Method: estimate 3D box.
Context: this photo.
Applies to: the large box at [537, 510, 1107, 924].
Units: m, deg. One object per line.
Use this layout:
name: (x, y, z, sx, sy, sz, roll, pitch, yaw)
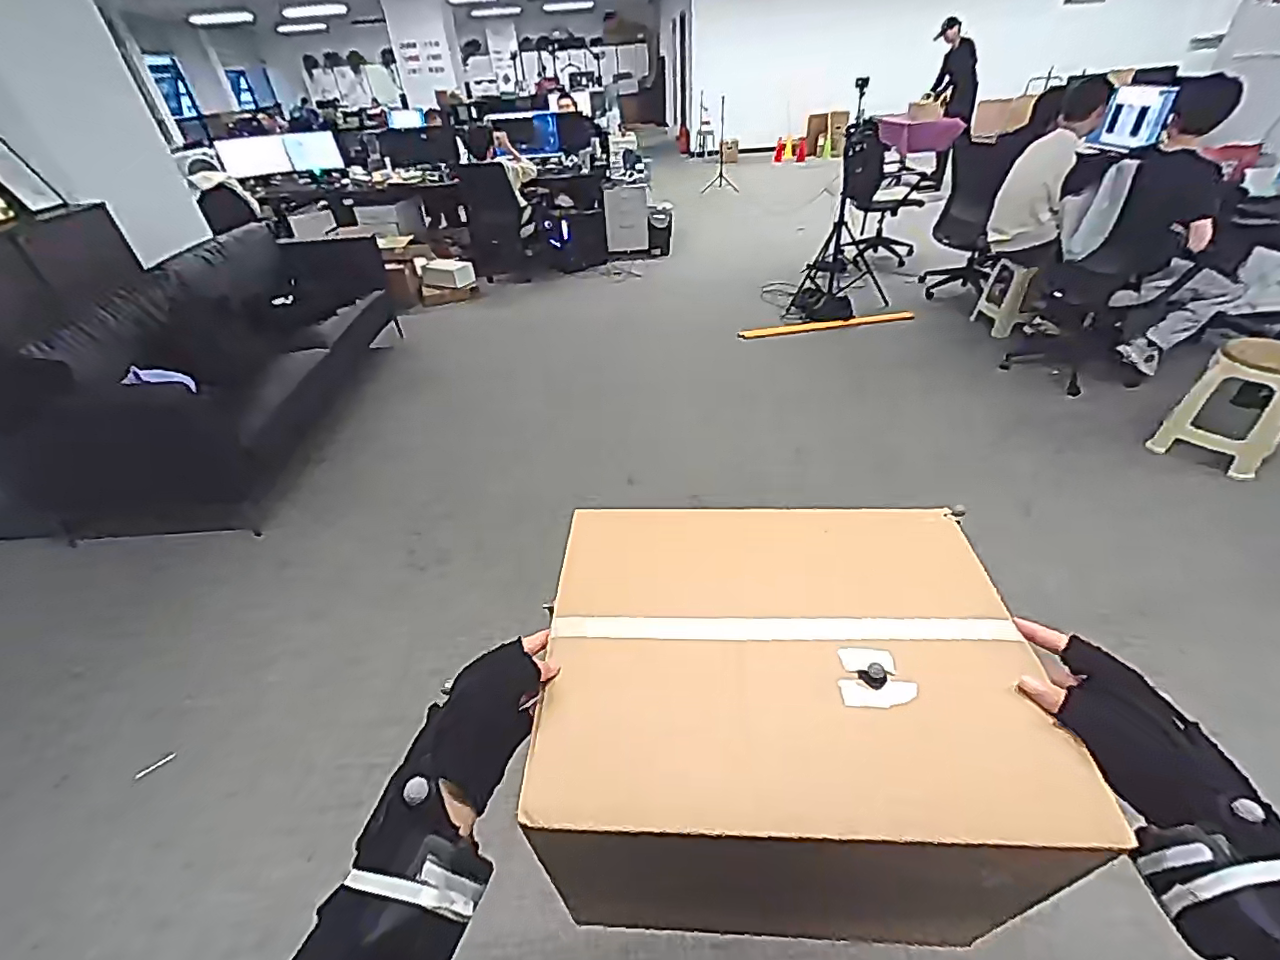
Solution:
large box: (0.132, 0.250, 0.584, 0.408, 0.320, 0.320, -1, 41, 4)
